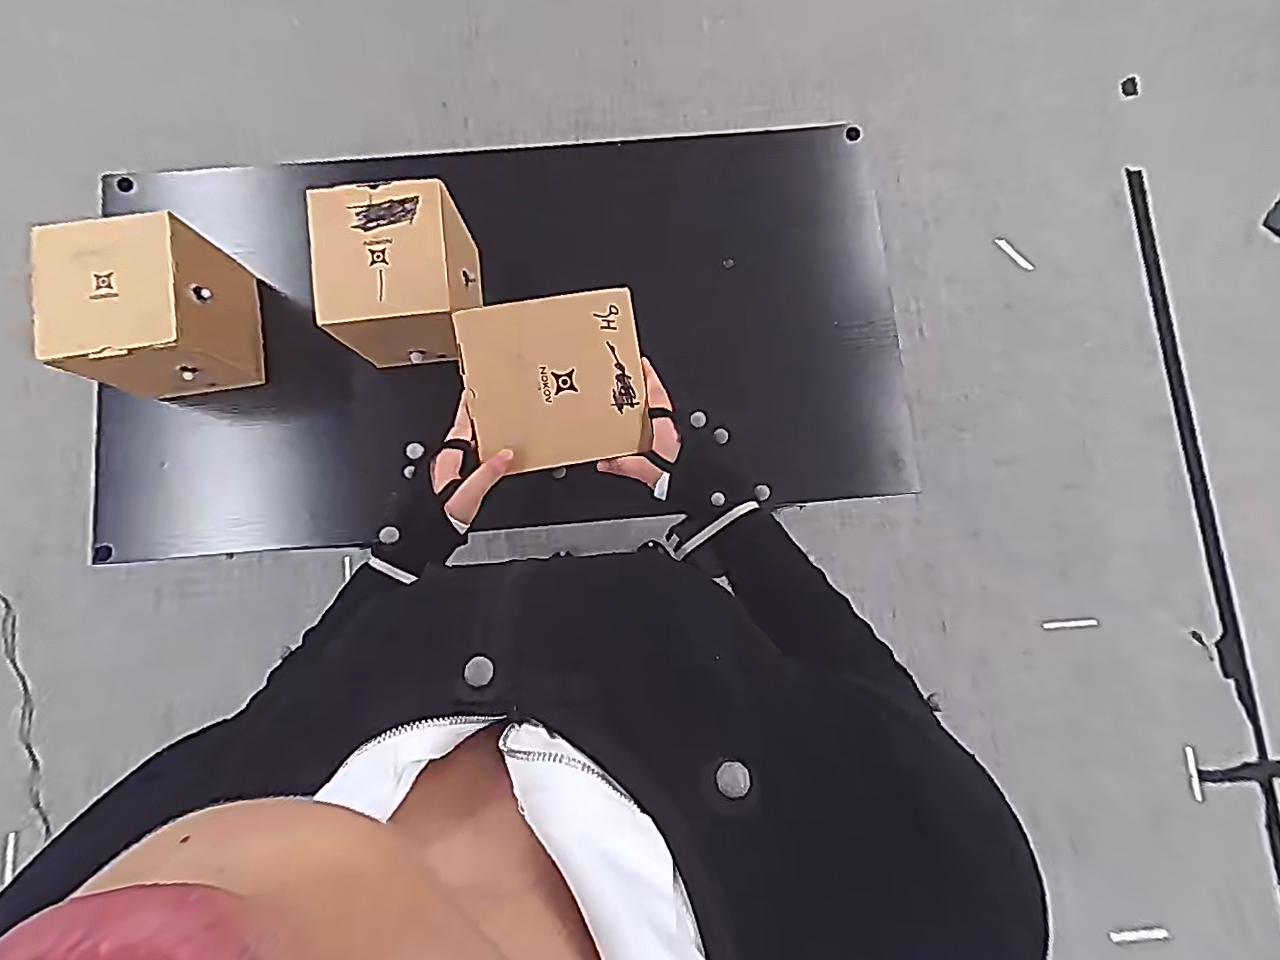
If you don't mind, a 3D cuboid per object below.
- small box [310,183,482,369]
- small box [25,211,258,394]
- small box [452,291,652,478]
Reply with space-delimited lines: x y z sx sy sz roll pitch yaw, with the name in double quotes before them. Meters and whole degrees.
"small box" -0.319 -0.267 0.737 0.168 0.176 0.179 -6 84 -2
"small box" -0.648 -0.222 0.724 0.168 0.176 0.179 -9 83 -4
"small box" -0.089 -0.093 0.603 0.179 0.176 0.168 -9 92 -5
